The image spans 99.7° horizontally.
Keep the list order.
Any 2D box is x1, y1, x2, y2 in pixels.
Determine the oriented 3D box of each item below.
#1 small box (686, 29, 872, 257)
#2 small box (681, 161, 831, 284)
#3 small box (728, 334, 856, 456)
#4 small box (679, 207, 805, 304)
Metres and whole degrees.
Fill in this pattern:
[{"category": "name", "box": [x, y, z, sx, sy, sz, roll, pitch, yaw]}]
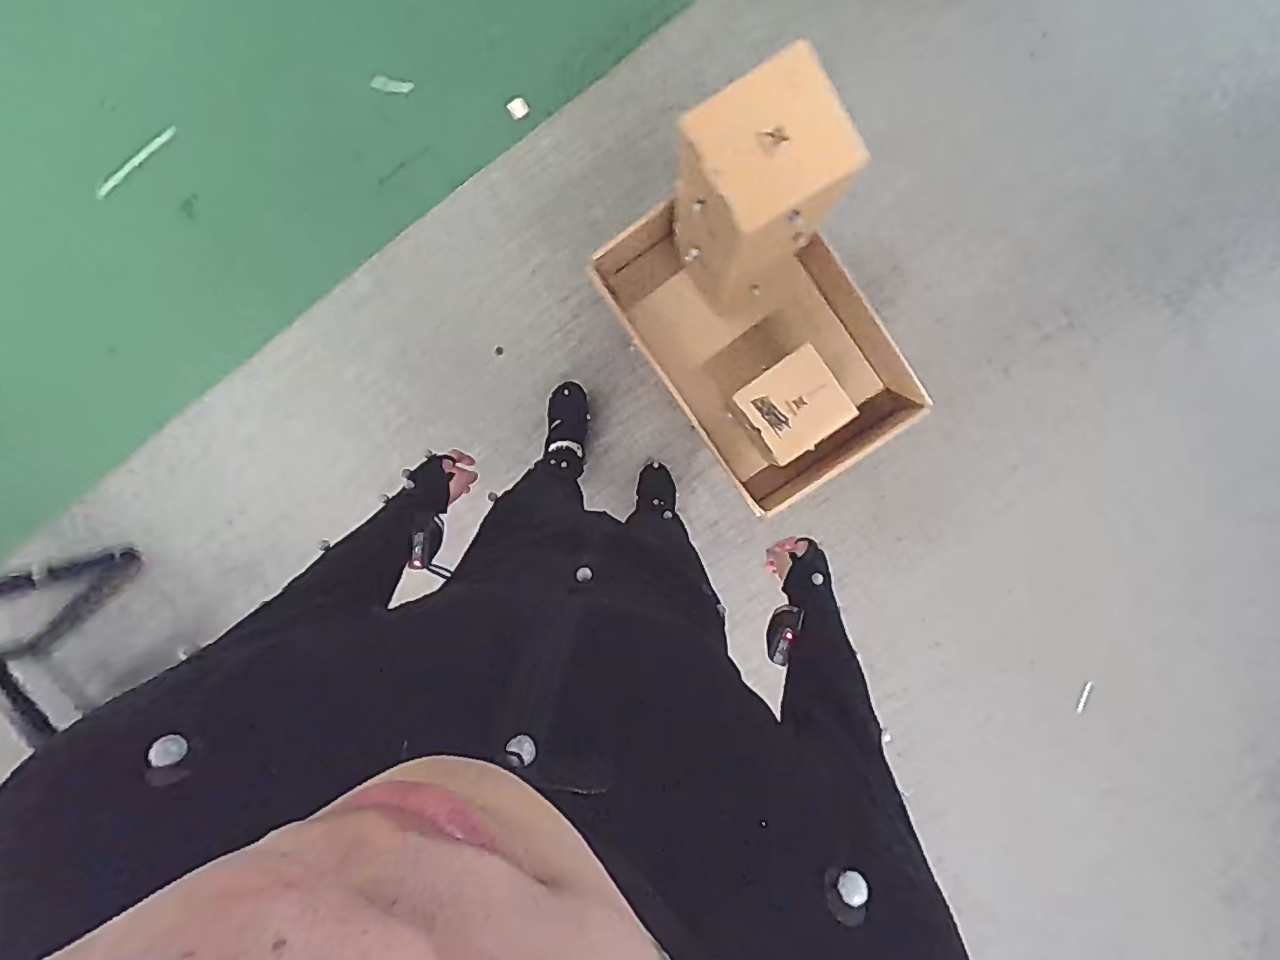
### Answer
[{"category": "small box", "box": [0.173, -0.437, 0.735, 0.179, 0.176, 0.168, -29, 94, 6]}, {"category": "small box", "box": [0.179, -0.457, 0.896, 0.179, 0.176, 0.168, -30, 93, 6]}, {"category": "small box", "box": [0.291, -0.164, 1.085, 0.179, 0.176, 0.168, -35, 94, 5]}, {"category": "small box", "box": [0.188, -0.475, 1.057, 0.179, 0.176, 0.168, -33, 92, 6]}]
